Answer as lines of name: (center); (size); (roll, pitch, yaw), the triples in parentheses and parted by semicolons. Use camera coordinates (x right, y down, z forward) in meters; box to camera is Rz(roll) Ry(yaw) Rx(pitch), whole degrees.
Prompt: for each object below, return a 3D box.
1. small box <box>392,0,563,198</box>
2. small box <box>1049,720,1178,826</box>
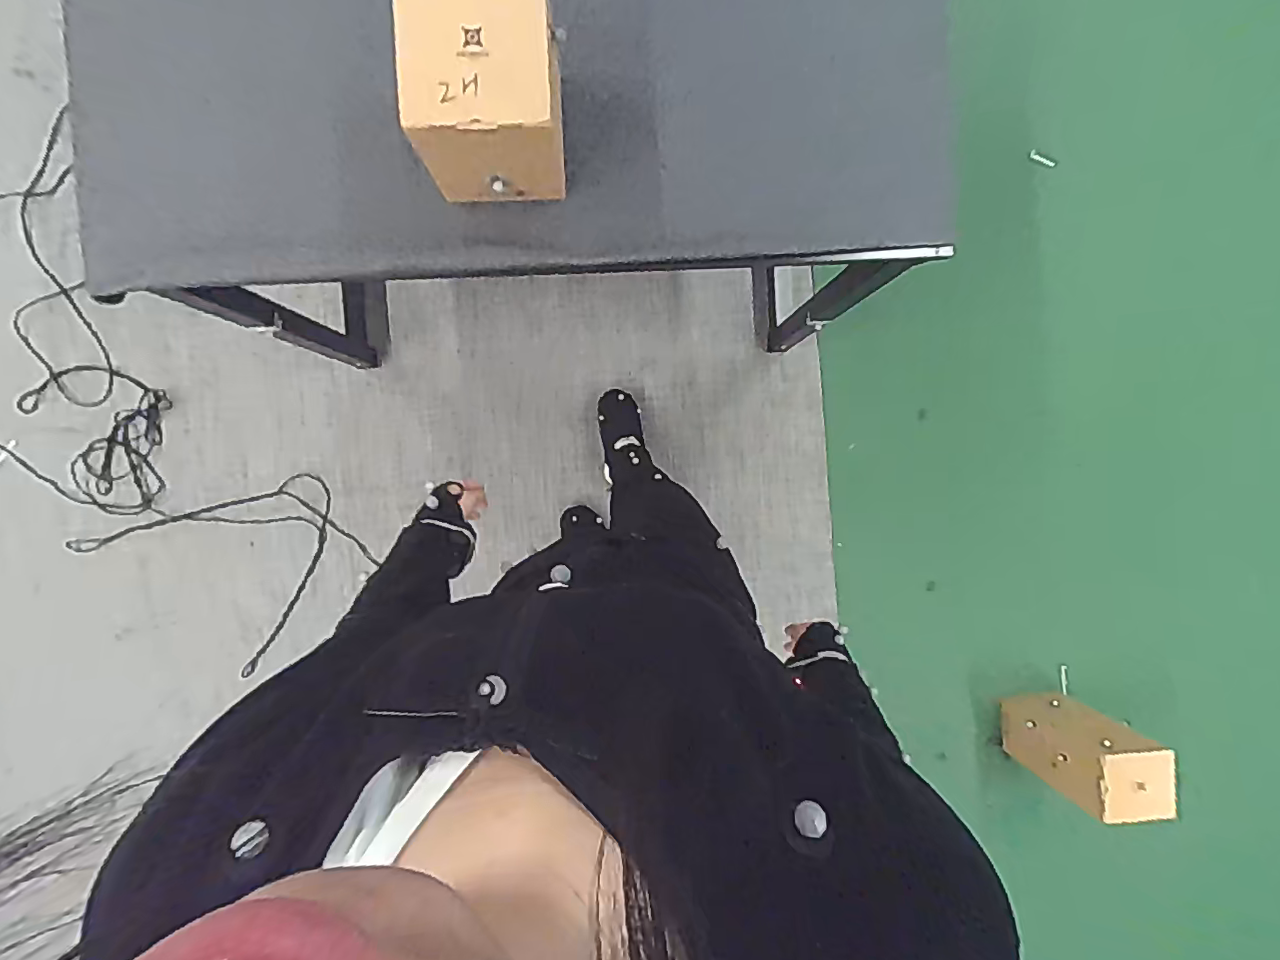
small box: (-0.186, -0.475, 0.662); (0.168, 0.176, 0.179); (-3, 91, -2)
small box: (1.147, 0.704, 1.318); (0.179, 0.176, 0.168); (-4, 92, -3)
